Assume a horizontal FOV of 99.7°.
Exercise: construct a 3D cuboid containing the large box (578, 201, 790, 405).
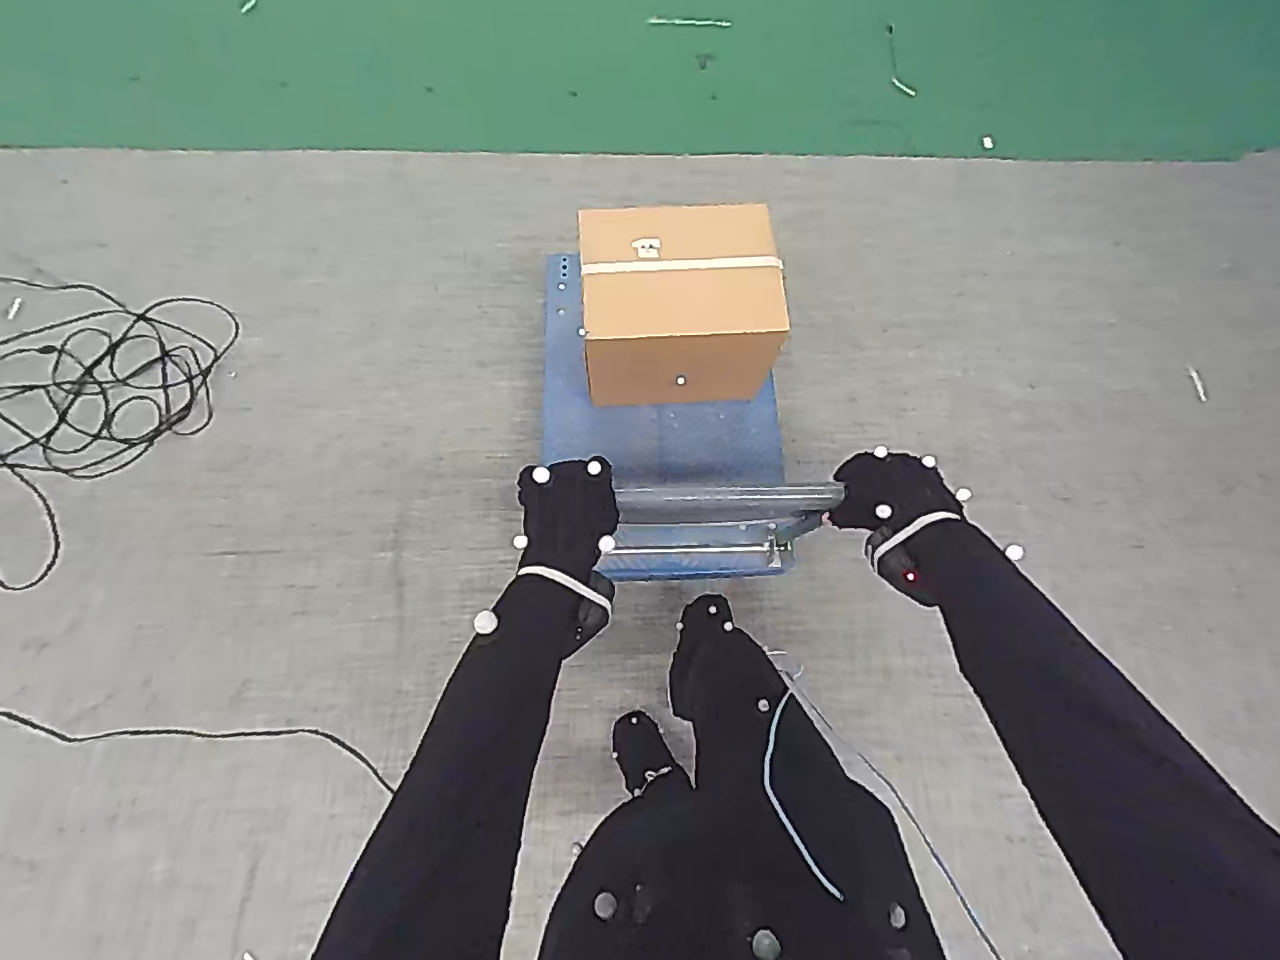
[{"bbox_3d":[0.082,-0.382,1.229,0.408,0.320,0.320,-4,73,-2],"label":"large box"}]
